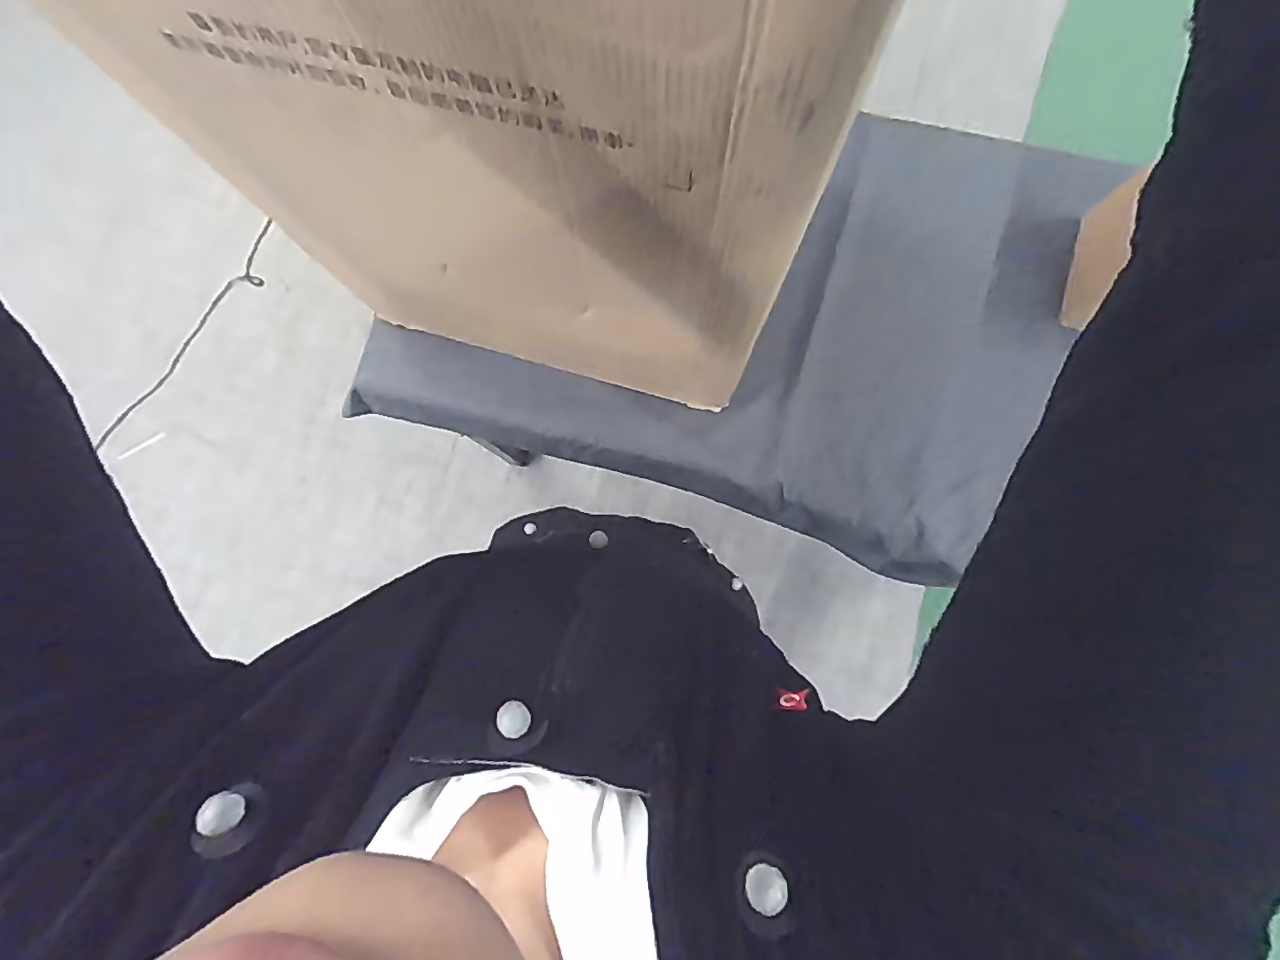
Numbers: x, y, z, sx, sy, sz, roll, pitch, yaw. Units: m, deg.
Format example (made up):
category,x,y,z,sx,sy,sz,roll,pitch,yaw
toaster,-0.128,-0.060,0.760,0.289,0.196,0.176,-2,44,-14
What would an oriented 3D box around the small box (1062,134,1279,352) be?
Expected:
category,x,y,z,sx,sy,sz,roll,pitch,yaw
small box,0.699,-0.294,0.703,0.168,0.176,0.179,17,83,5
